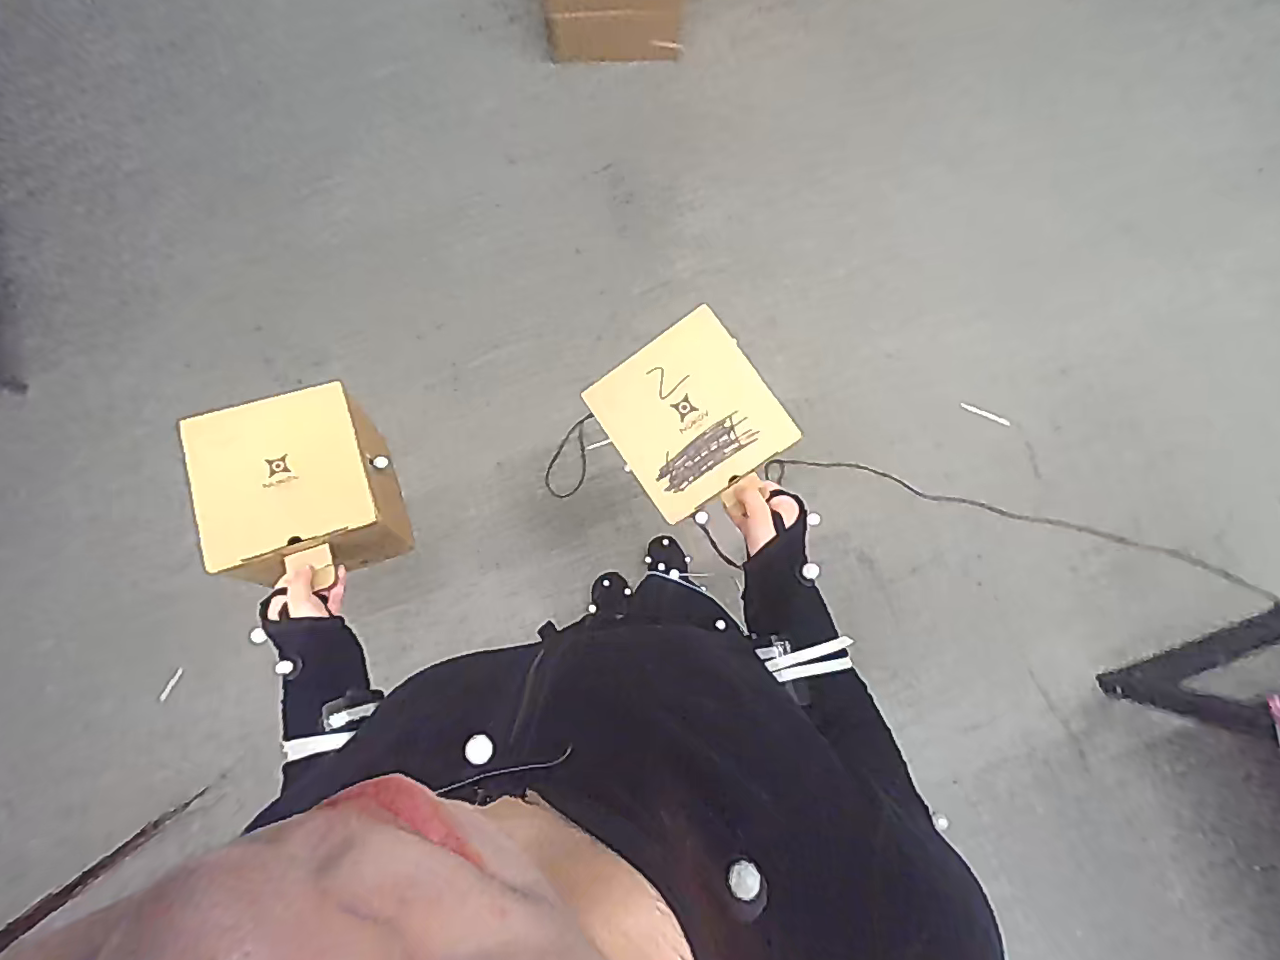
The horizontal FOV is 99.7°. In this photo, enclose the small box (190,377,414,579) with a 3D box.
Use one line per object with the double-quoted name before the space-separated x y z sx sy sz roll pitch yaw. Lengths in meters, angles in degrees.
"small box" -0.390 0.005 0.651 0.168 0.176 0.179 -17 76 -14
